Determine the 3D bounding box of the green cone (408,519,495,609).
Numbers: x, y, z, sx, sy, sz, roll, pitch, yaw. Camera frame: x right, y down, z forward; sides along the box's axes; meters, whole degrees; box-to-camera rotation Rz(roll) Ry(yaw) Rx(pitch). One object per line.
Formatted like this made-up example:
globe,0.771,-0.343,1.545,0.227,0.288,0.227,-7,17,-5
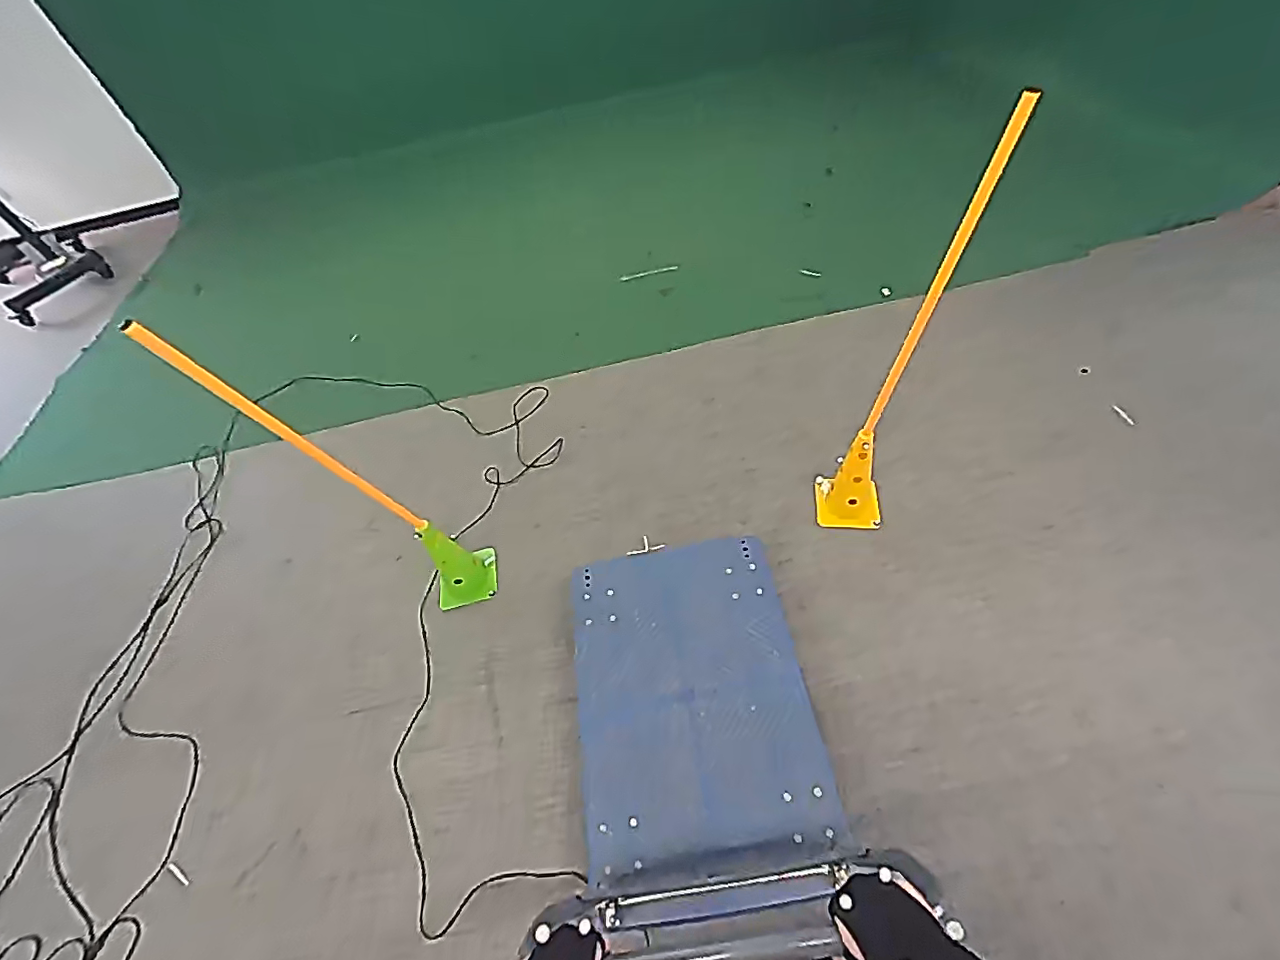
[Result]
green cone,-0.631,0.232,1.735,0.202,0.368,0.200,-16,52,0
